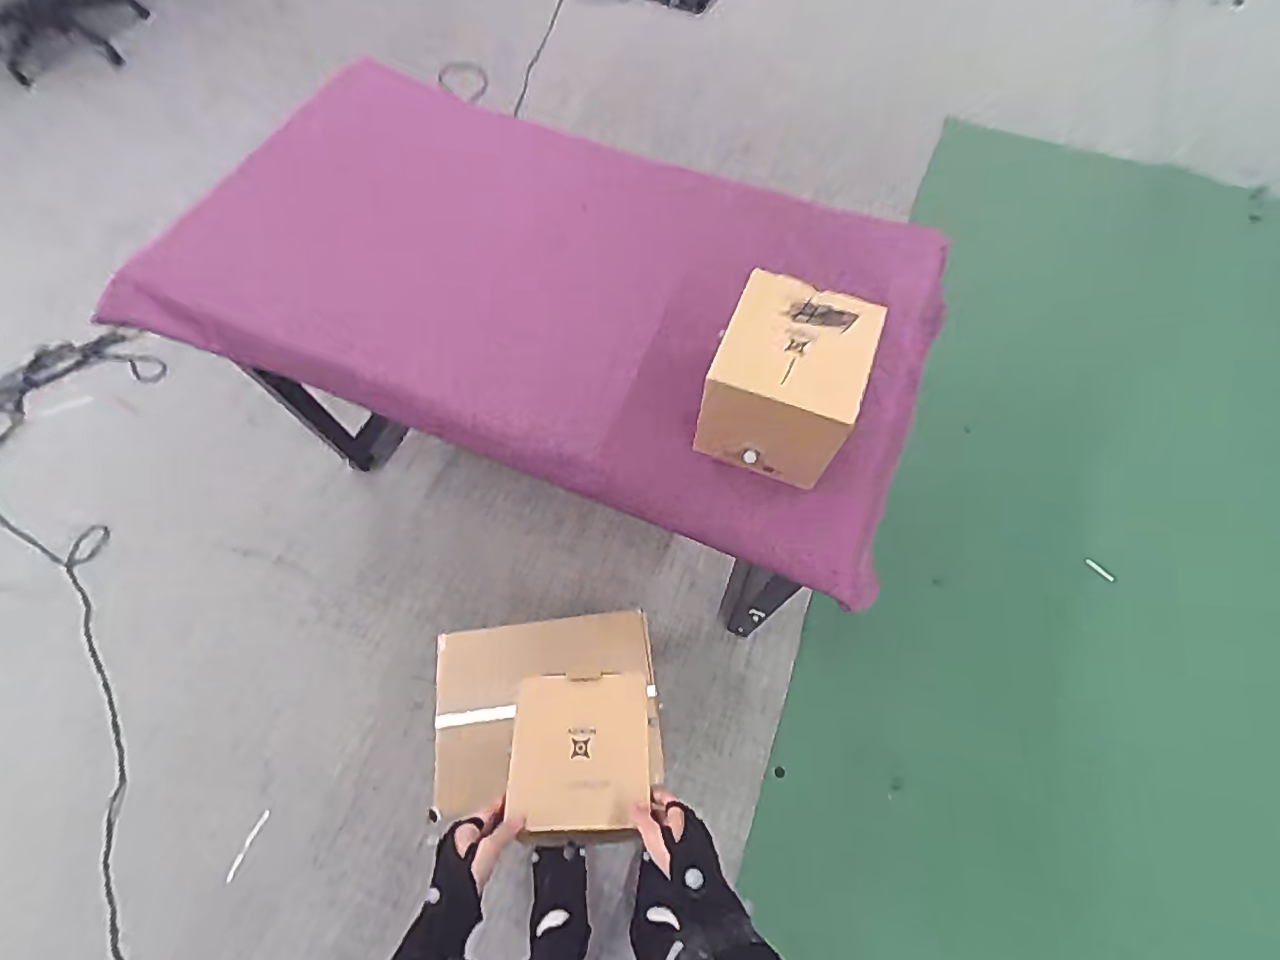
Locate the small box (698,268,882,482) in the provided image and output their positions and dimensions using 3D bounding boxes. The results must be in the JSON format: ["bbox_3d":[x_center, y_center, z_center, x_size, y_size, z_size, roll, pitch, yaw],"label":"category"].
[{"bbox_3d":[0.180,-0.127,0.688,0.168,0.176,0.179,20,66,10],"label":"small box"}]

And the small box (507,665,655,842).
[{"bbox_3d":[-0.067,0.357,0.704,0.168,0.176,0.179,0,51,-1],"label":"small box"}]
